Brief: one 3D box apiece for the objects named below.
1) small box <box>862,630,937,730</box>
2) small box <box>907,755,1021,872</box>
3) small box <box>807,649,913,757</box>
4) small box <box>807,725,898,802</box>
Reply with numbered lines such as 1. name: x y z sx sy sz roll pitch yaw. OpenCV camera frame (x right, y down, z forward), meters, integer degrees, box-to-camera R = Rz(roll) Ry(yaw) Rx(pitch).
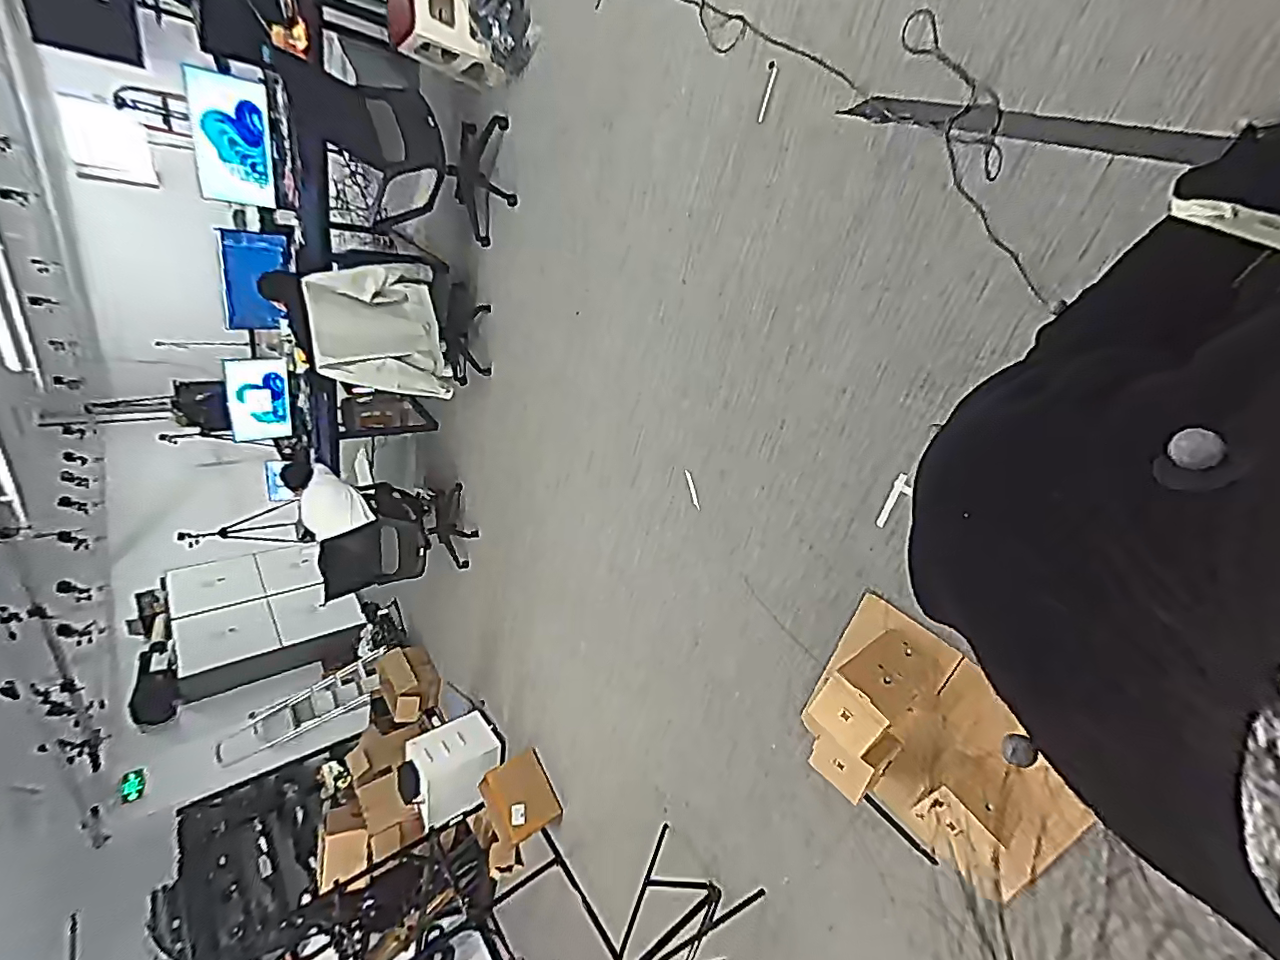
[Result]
1. small box: 0.711 0.564 1.543 0.168 0.176 0.179 38 125 37
2. small box: 0.864 0.880 1.438 0.179 0.176 0.168 46 130 31
3. small box: 0.588 0.587 1.439 0.168 0.176 0.179 42 127 35
4. small box: 0.658 0.838 1.674 0.179 0.176 0.168 34 124 40
